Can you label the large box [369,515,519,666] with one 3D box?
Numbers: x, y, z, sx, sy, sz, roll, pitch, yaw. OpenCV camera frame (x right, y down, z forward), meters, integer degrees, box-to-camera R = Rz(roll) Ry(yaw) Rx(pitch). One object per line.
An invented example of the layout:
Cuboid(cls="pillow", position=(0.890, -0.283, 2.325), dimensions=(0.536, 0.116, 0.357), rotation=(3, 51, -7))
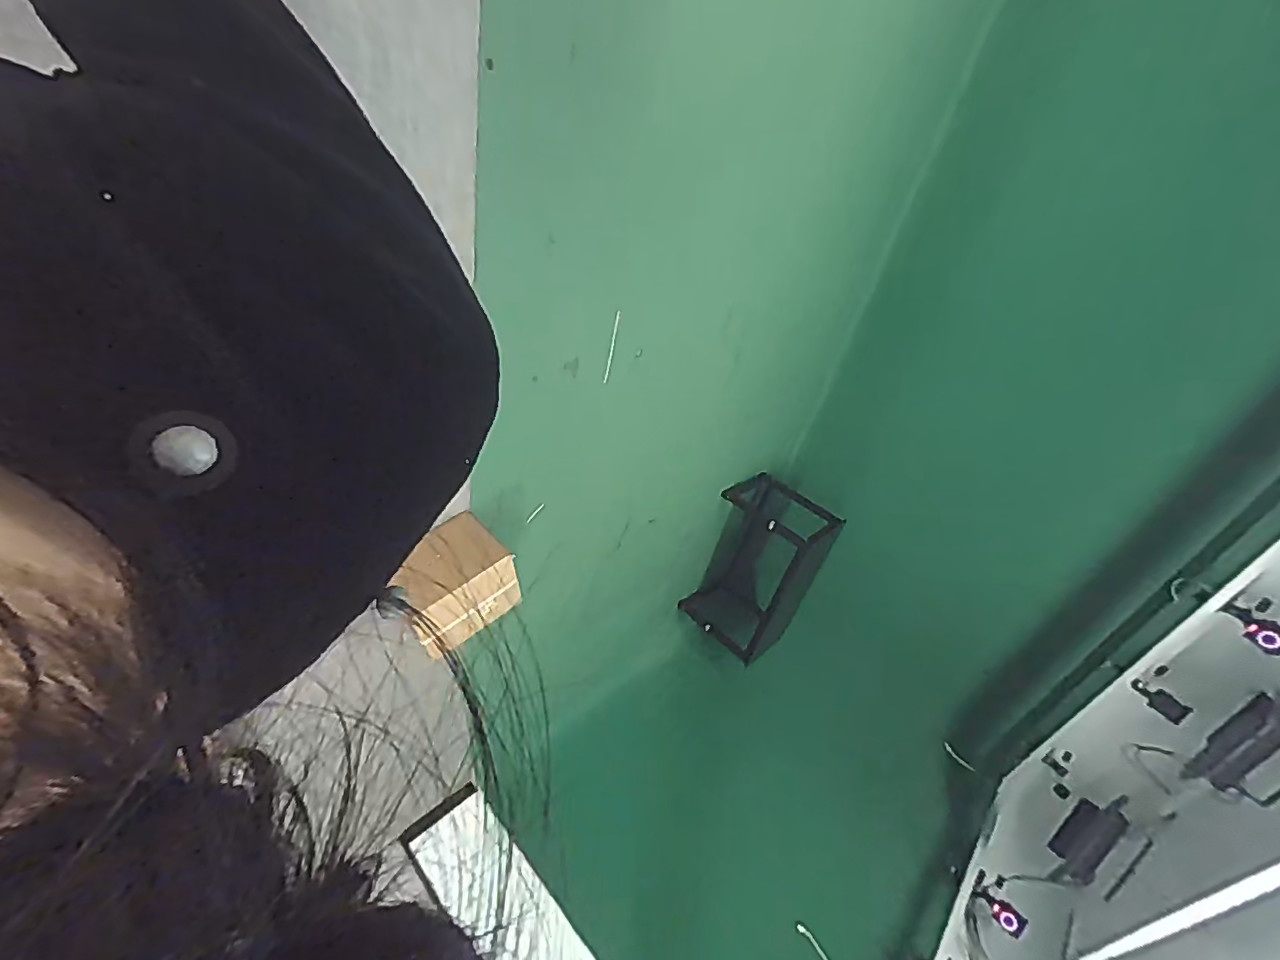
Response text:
Cuboid(cls="large box", position=(-0.735, 0.412, 2.067), dimensions=(0.408, 0.320, 0.320), rotation=(-35, 145, -32))
